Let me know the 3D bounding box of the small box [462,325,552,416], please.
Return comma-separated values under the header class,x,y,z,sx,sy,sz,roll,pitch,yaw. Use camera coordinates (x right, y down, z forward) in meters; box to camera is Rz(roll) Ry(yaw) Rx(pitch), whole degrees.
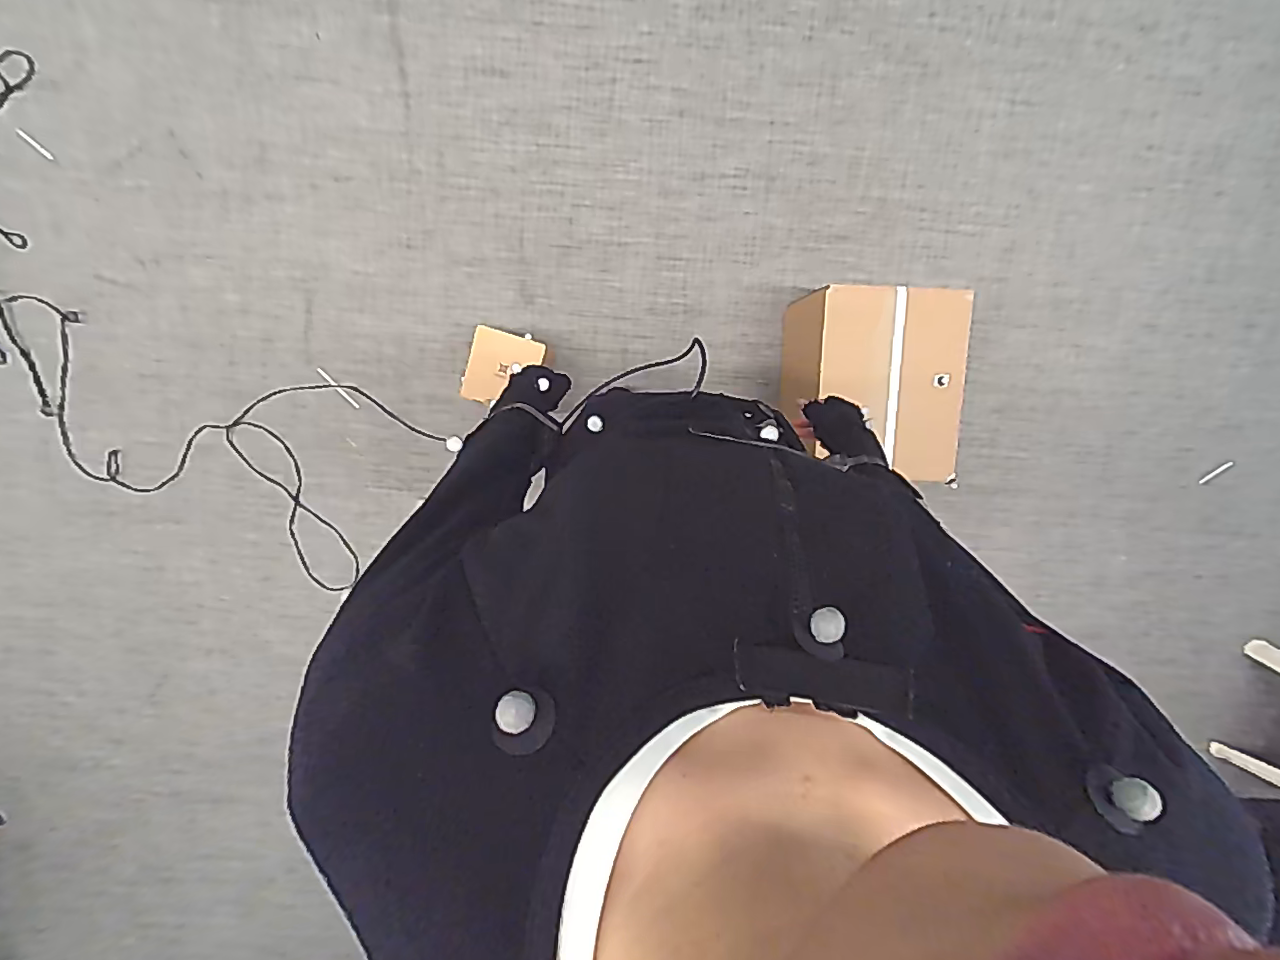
class,x,y,z,sx,sy,sz,roll,pitch,yaw
small box,-0.322,-0.271,1.345,0.168,0.176,0.179,16,100,-4
